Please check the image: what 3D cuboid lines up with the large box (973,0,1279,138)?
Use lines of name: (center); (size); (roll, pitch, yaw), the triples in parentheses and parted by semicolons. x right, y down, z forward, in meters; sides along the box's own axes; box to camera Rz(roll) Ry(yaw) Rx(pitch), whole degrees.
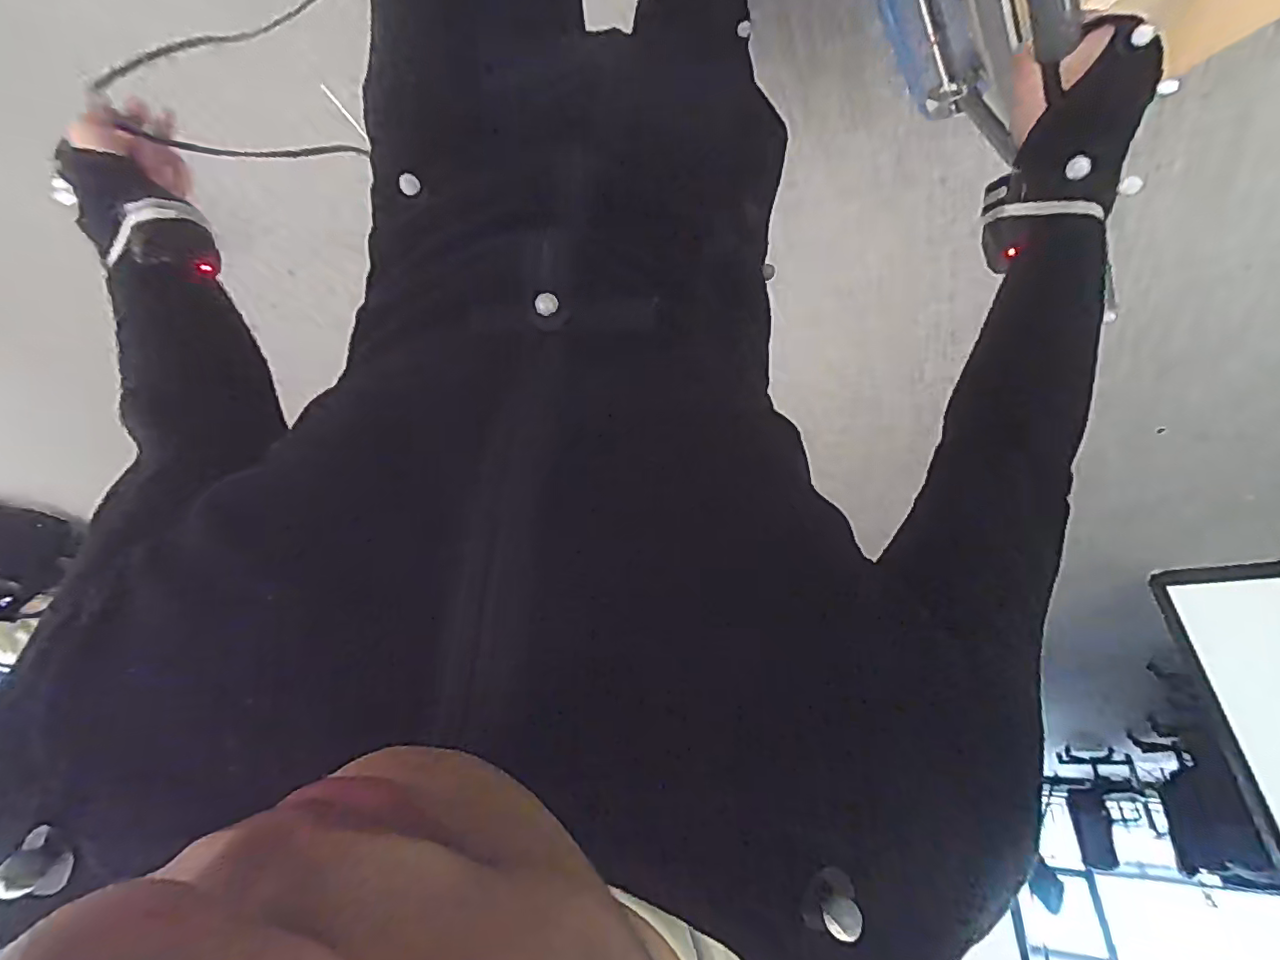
large box: (0.659, -0.749, 0.670); (0.408, 0.320, 0.320); (-23, 136, 34)
